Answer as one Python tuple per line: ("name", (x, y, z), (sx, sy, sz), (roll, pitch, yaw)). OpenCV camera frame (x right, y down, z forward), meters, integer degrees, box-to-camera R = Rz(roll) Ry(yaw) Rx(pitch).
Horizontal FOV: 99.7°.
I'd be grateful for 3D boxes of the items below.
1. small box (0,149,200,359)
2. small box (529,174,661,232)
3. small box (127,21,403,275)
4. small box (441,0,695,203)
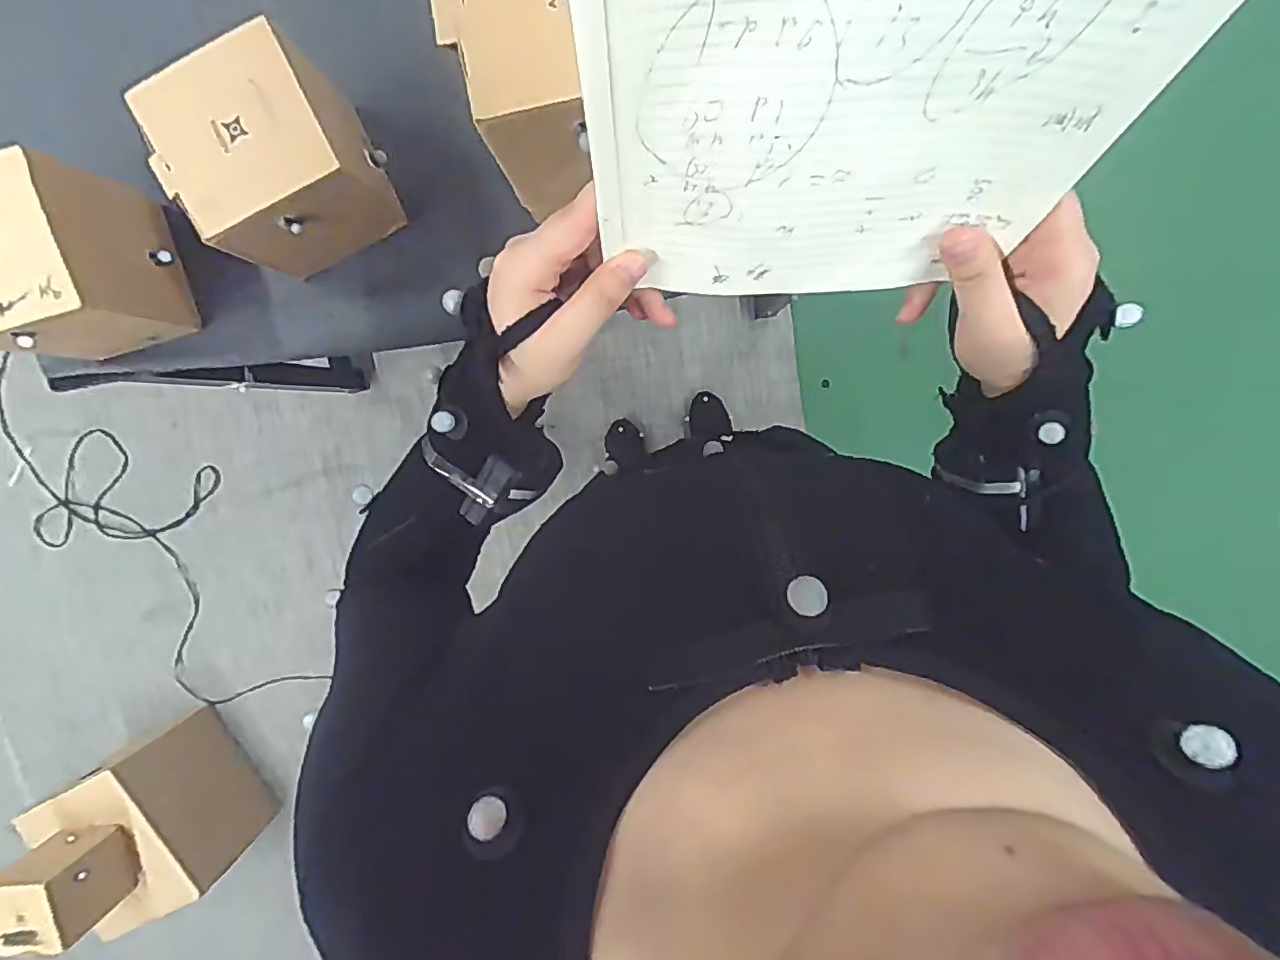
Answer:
("small box", (-0.708, -0.261, 0.668), (0.168, 0.176, 0.179), (-15, 96, 3))
("small box", (-0.056, -0.412, 0.626), (0.168, 0.176, 0.179), (6, 97, 2))
("small box", (-0.426, -0.372, 0.646), (0.179, 0.176, 0.168), (-25, 96, 4))
("small box", (-0.056, -0.368, 0.468), (0.179, 0.176, 0.168), (-10, 96, 4))
